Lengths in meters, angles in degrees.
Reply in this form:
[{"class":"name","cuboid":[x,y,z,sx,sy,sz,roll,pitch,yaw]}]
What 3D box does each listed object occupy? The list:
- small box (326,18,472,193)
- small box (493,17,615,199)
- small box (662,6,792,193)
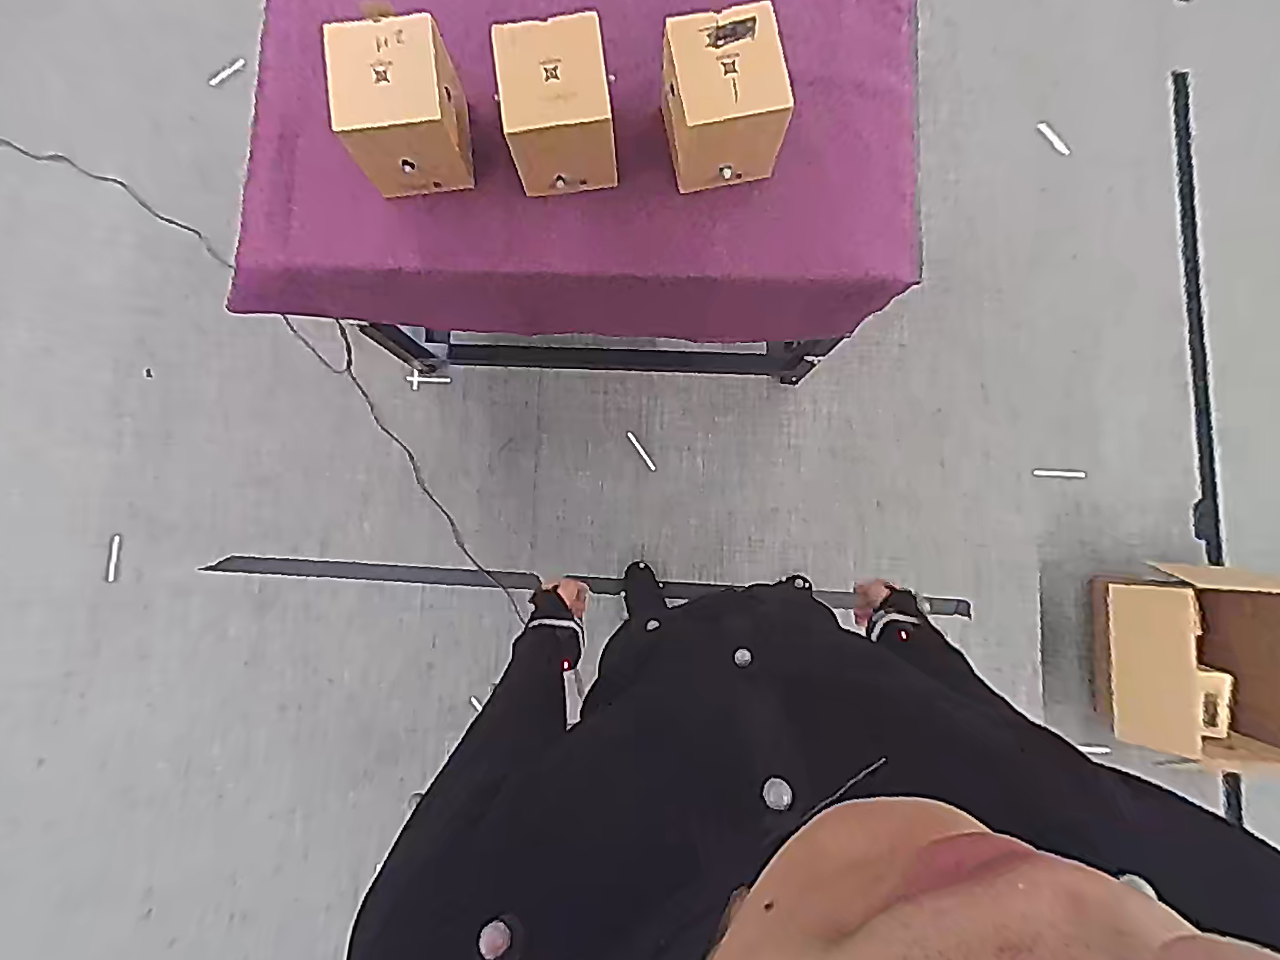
[{"class":"small box","cuboid":[-0.387,-0.602,0.893,0.168,0.176,0.179,-7,84,-1]},{"class":"small box","cuboid":[-0.134,-0.603,0.894,0.168,0.176,0.179,-8,85,0]},{"class":"small box","cuboid":[0.133,-0.615,0.891,0.168,0.176,0.179,-11,85,0]}]
